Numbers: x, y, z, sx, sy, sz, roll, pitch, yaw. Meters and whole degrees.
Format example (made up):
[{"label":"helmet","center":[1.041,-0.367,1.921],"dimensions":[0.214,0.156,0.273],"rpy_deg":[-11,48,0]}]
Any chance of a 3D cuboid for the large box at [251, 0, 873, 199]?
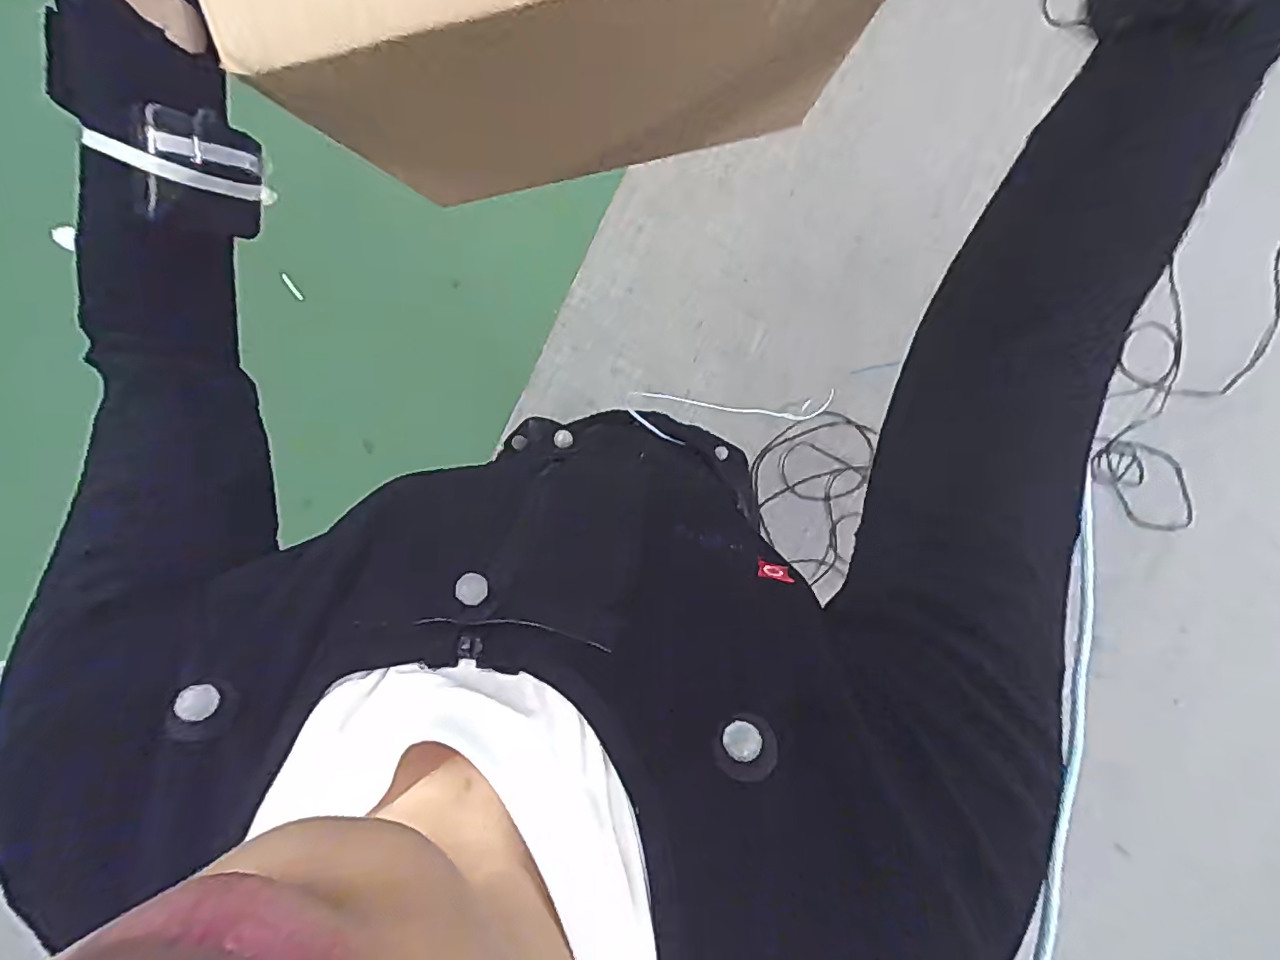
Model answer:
[{"label":"large box","center":[-0.052,-0.458,0.409],"dimensions":[0.408,0.320,0.320],"rpy_deg":[-12,104,3]}]
